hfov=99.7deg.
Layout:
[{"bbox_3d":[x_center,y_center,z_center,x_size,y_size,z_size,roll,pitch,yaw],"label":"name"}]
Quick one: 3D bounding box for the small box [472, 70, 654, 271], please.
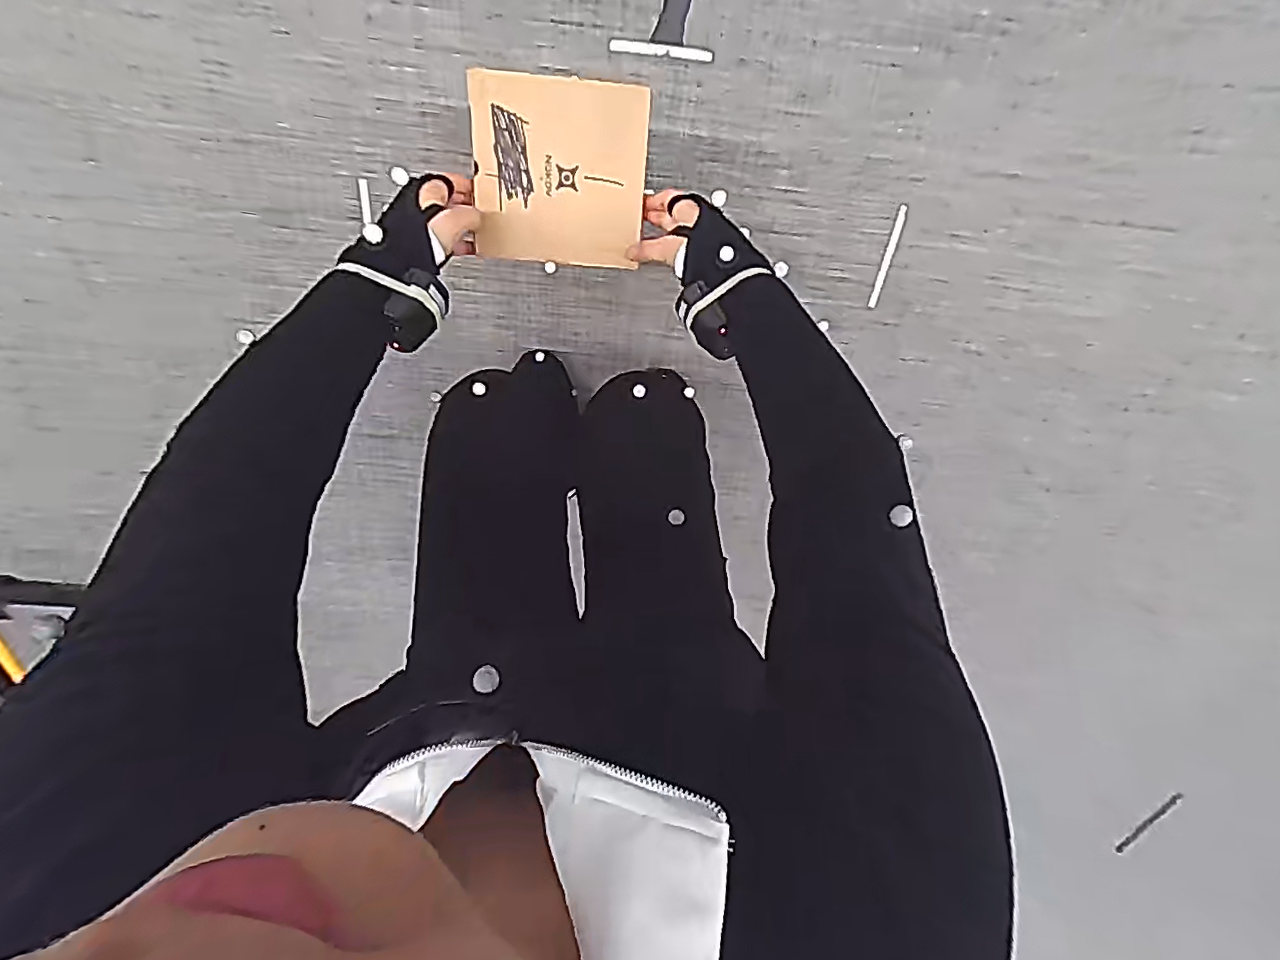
[{"bbox_3d":[-0.082,-0.341,0.620,0.179,0.176,0.168,4,116,-4],"label":"small box"}]
